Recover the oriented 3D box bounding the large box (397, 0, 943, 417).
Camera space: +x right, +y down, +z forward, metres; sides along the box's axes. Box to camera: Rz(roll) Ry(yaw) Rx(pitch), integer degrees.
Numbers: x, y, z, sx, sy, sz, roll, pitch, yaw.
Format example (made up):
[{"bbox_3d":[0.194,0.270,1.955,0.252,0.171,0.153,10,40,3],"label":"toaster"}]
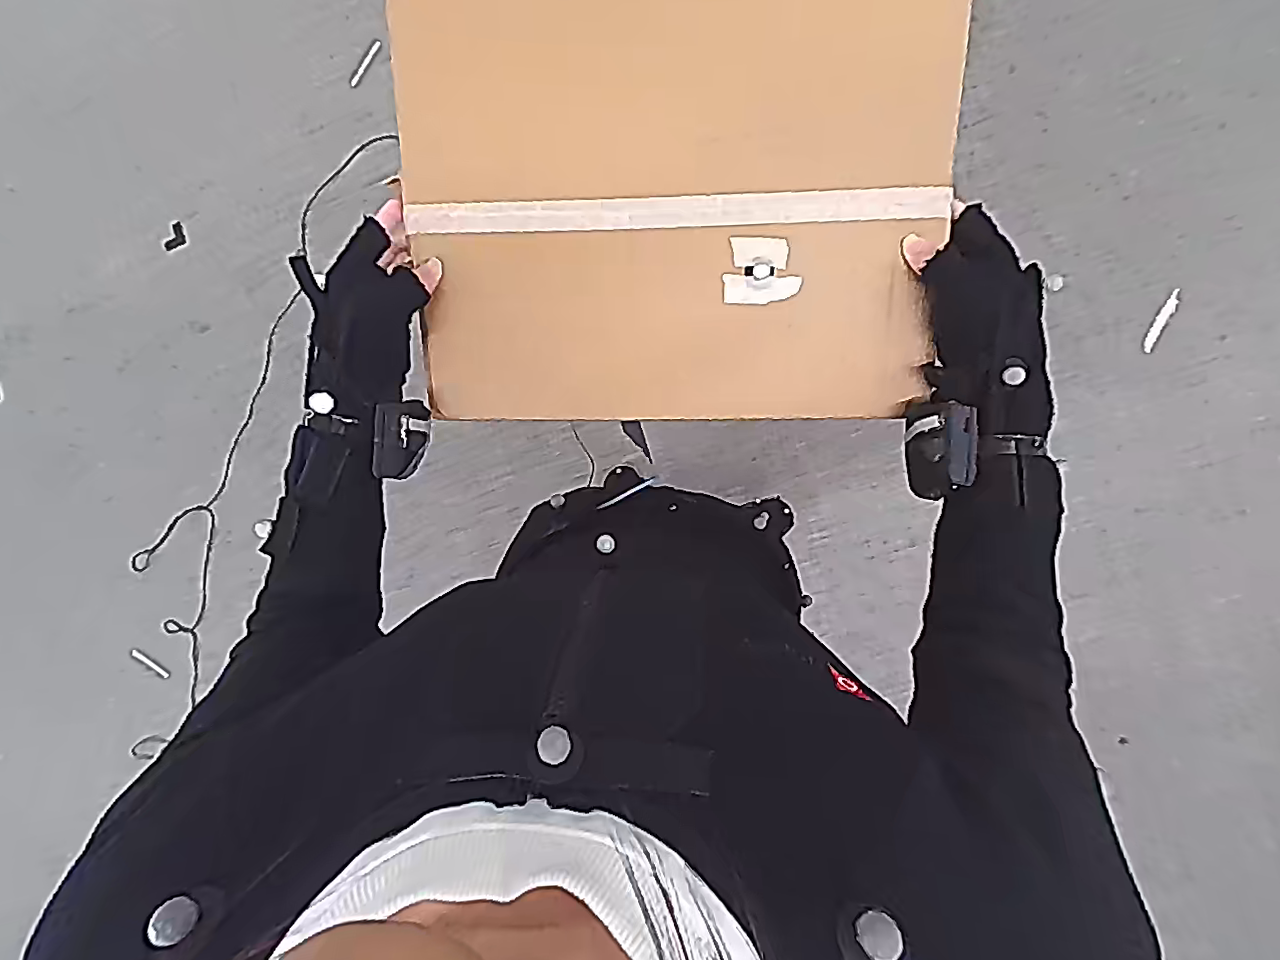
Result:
[{"bbox_3d":[0.027,-0.243,0.566,0.408,0.320,0.320,-1,104,3],"label":"large box"}]
